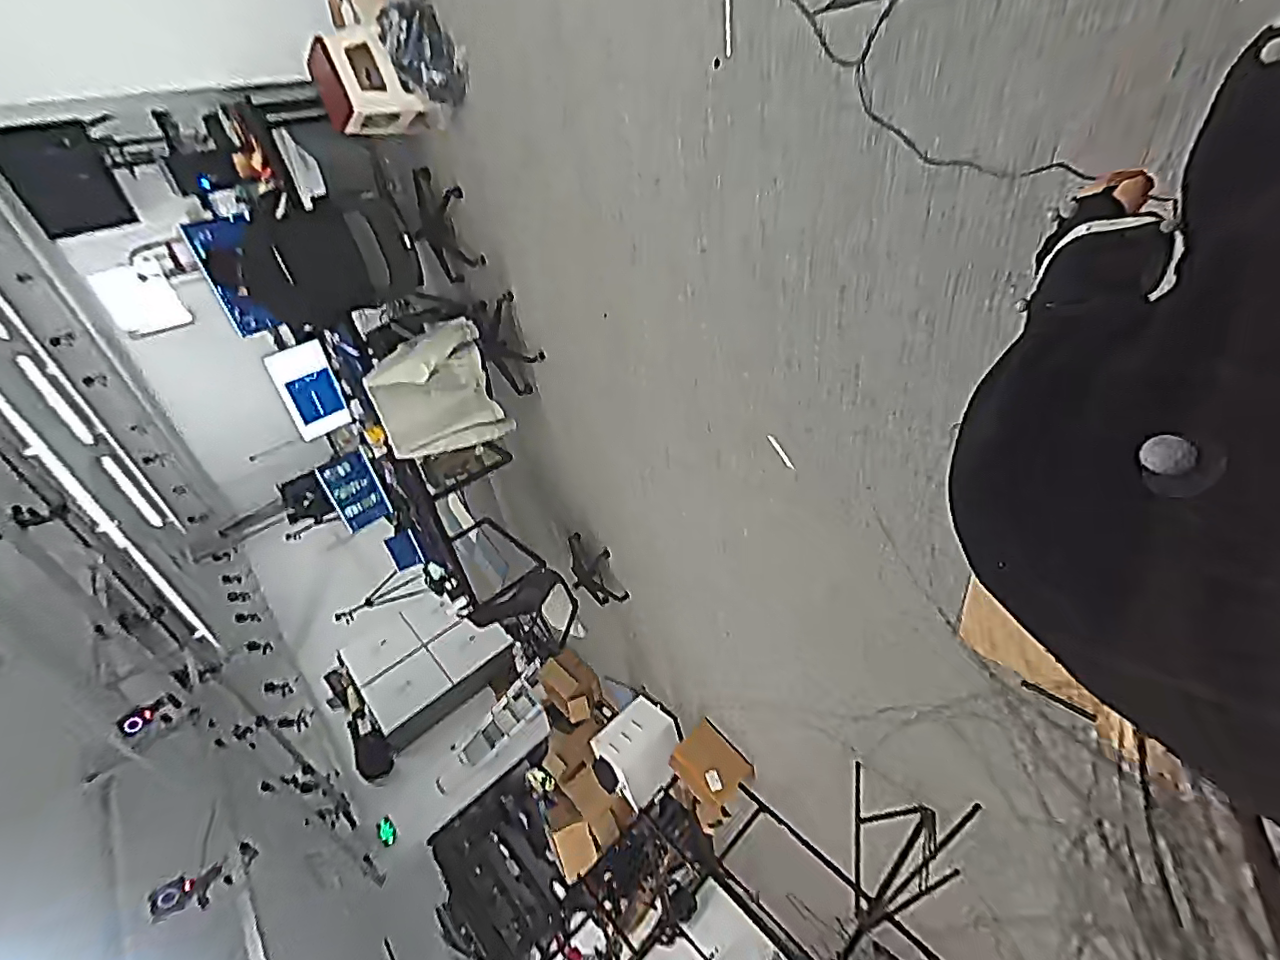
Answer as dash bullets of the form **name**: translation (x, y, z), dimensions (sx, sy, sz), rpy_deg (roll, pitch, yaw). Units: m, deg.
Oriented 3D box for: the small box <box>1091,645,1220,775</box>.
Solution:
- **small box**: translation (1.187, 0.522, 1.246), dimensions (0.168, 0.176, 0.179), rpy_deg (23, 137, 44)
